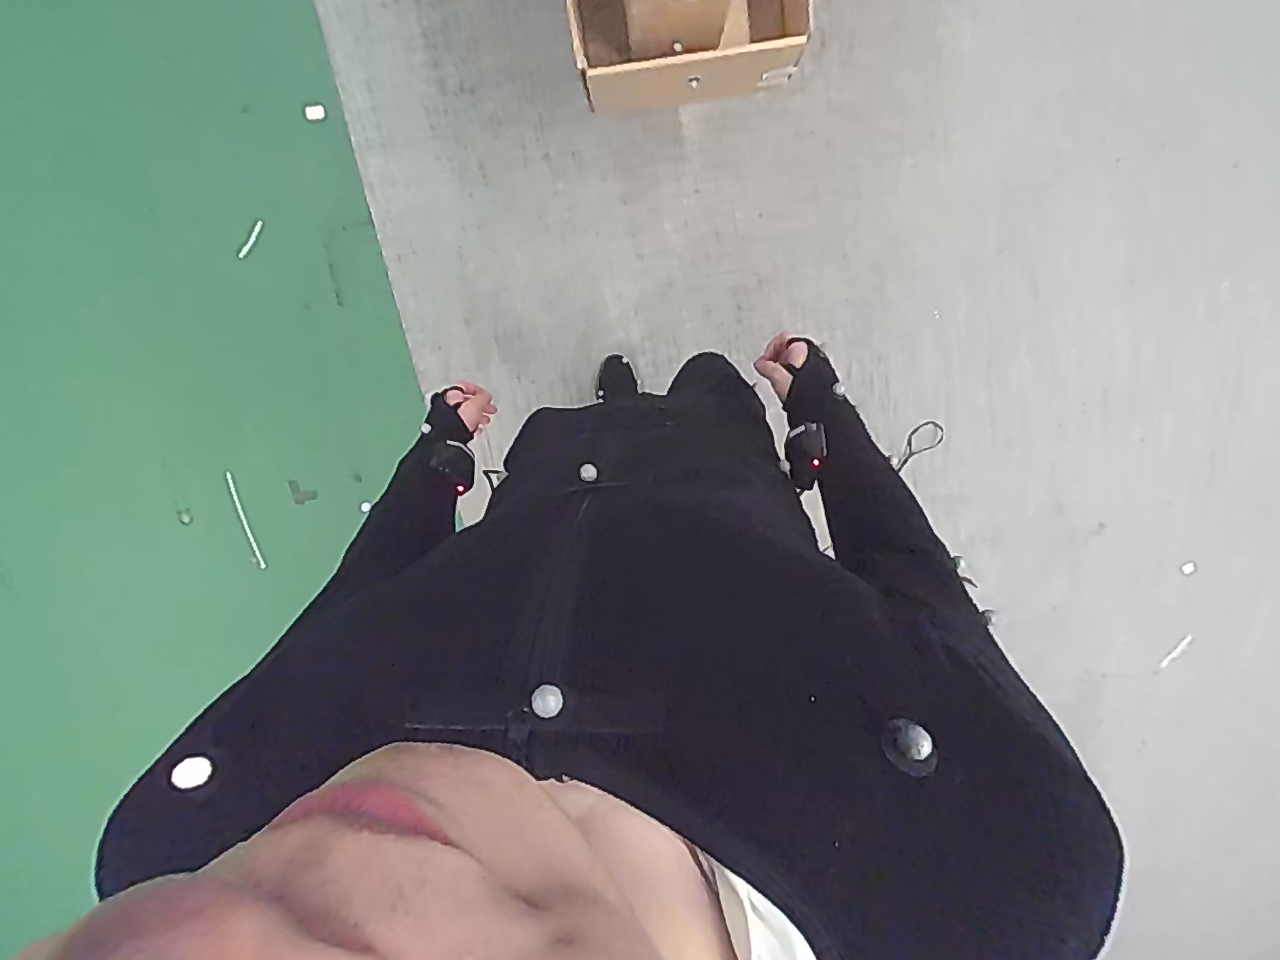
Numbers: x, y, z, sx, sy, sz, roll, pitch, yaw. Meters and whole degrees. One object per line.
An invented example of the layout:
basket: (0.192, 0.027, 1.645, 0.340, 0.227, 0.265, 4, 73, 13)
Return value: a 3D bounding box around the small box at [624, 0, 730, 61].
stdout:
small box: (0.053, -0.850, 0.902, 0.168, 0.176, 0.179, -7, 103, 3)
